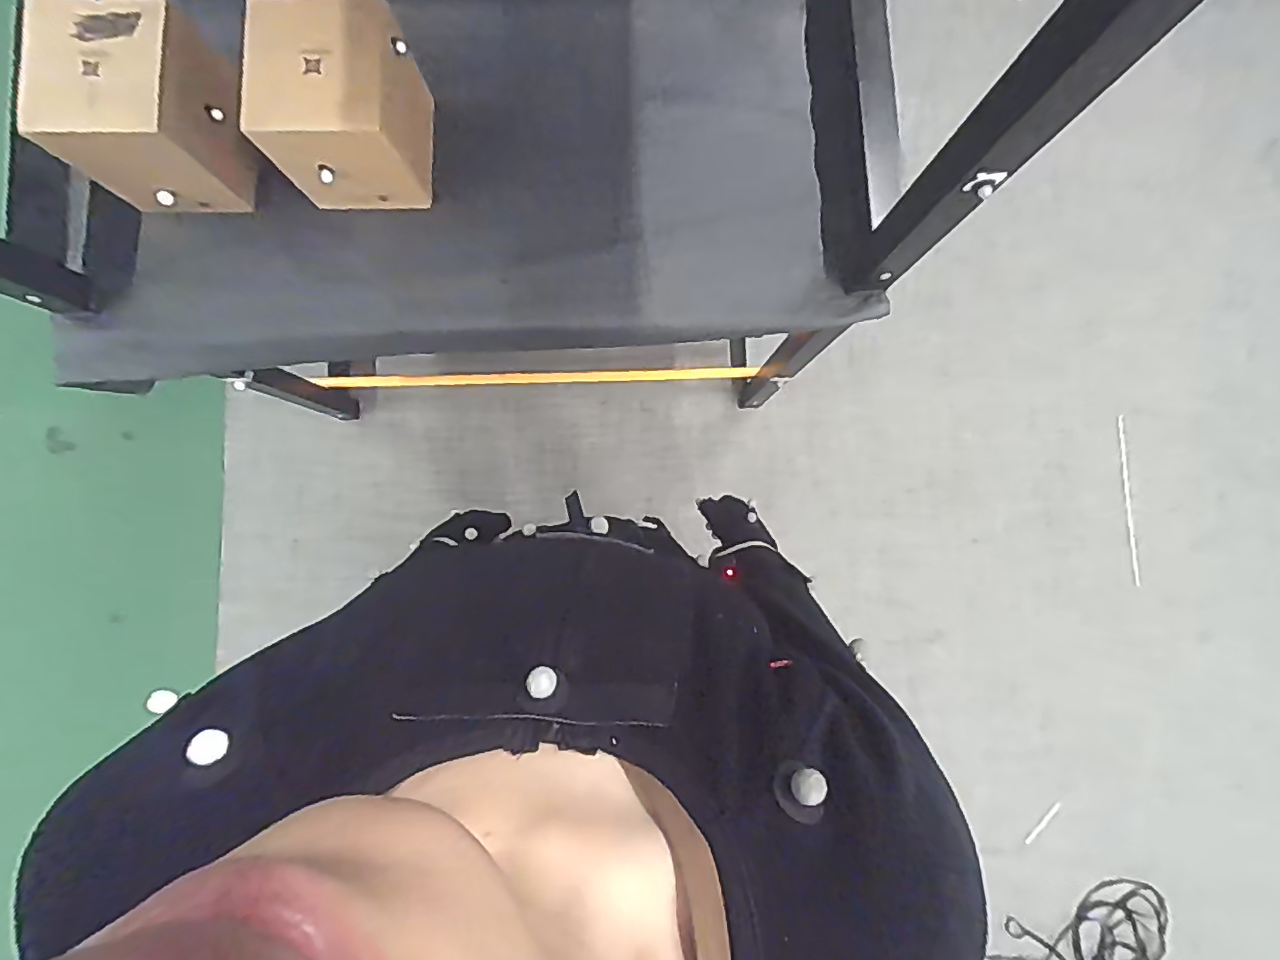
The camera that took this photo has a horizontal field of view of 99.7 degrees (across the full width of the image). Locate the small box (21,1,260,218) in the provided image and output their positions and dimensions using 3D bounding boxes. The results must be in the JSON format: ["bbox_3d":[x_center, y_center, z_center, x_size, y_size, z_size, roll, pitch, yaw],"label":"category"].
[{"bbox_3d":[-0.644,-0.480,0.721,0.168,0.176,0.179,-1,86,-1],"label":"small box"}]

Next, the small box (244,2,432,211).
[{"bbox_3d":[-0.391,-0.487,0.729,0.168,0.176,0.179,-1,85,-1],"label":"small box"}]
